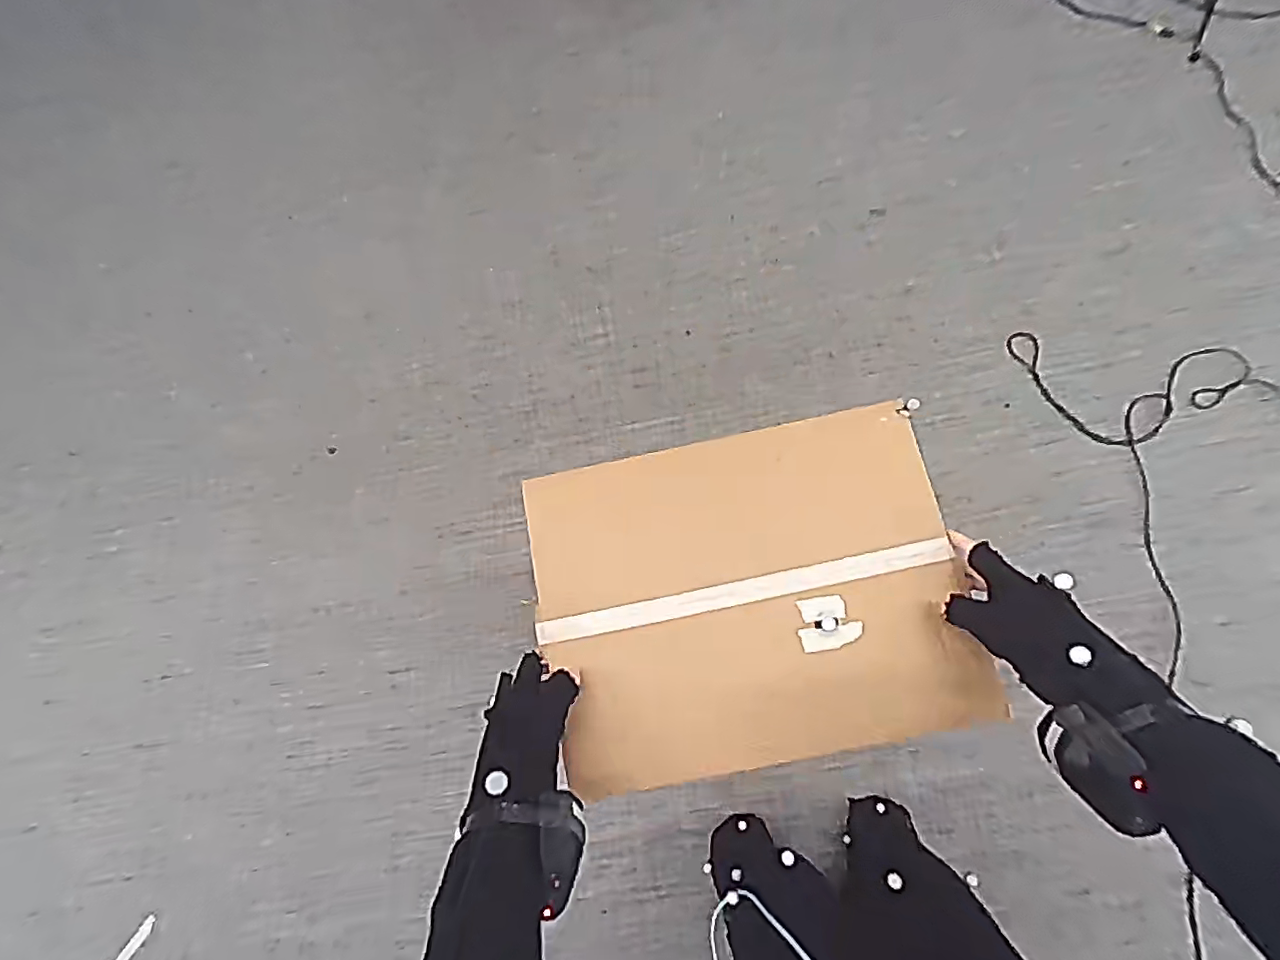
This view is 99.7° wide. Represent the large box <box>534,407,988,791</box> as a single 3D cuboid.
[{"bbox_3d":[0.118,0.146,0.695,0.408,0.320,0.320,-13,77,2],"label":"large box"}]
